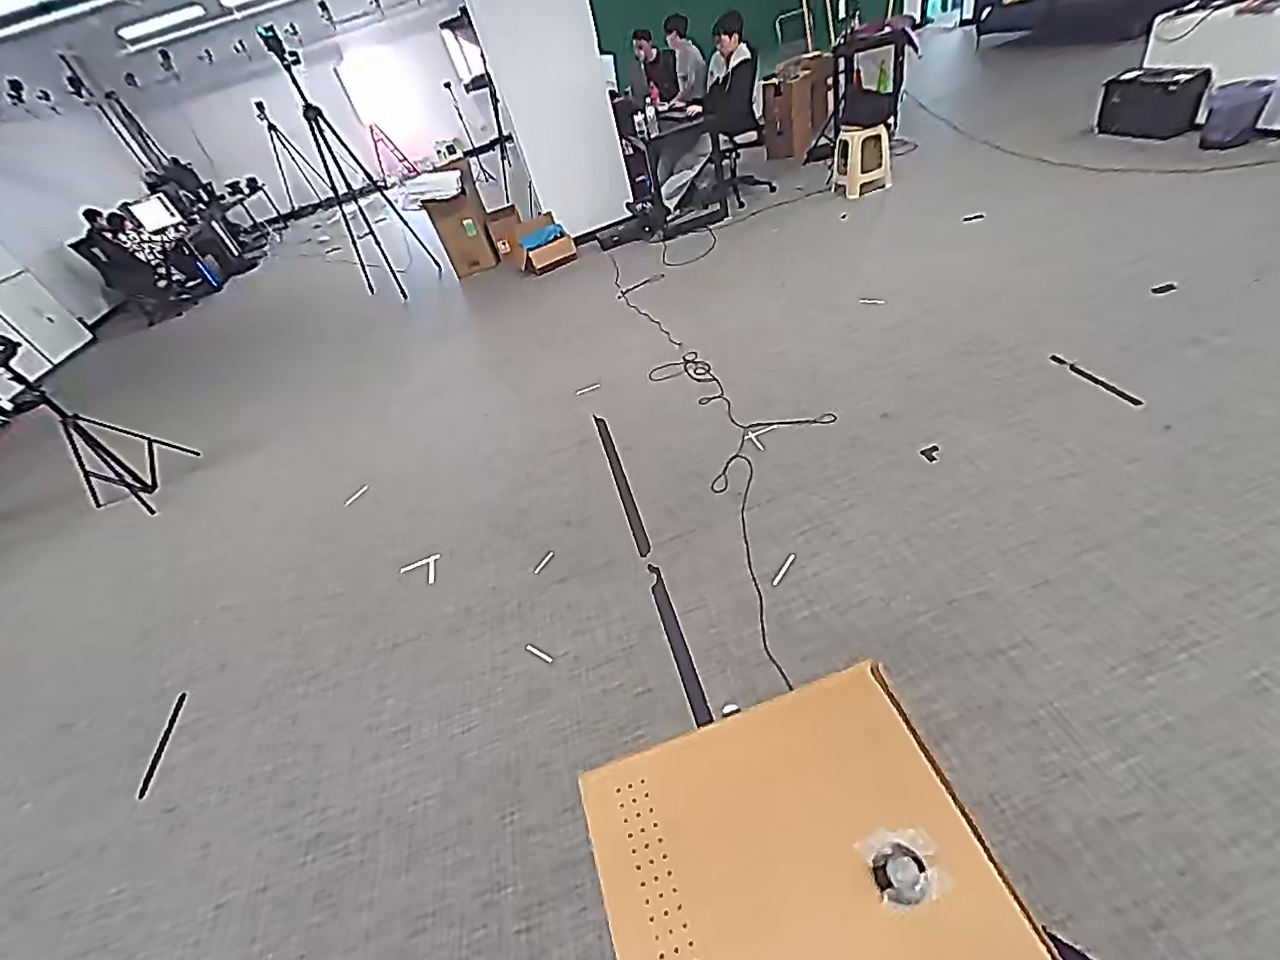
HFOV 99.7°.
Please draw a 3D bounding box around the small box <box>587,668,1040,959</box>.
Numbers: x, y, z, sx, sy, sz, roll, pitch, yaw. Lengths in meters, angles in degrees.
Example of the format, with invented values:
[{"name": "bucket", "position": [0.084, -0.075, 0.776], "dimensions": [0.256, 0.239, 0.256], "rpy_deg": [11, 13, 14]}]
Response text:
[{"name": "small box", "position": [0.081, 0.239, 0.297], "dimensions": [0.176, 0.168, 0.179], "rpy_deg": [-21, 52, -3]}]
